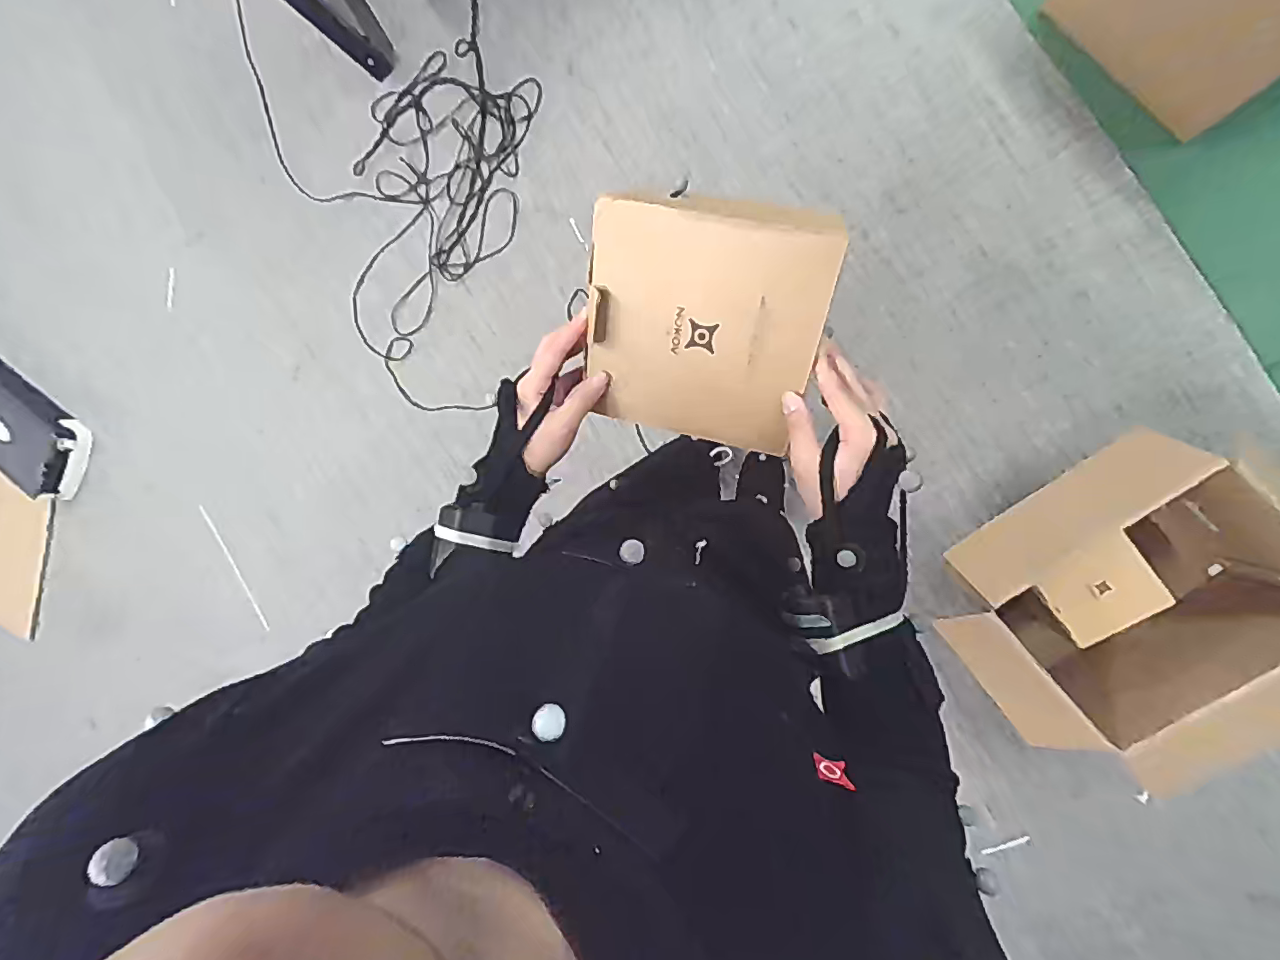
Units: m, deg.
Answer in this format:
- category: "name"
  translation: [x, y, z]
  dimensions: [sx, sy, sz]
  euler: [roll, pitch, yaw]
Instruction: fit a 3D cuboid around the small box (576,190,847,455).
- category: "small box"
  translation: [0.059, -0.145, 0.462]
  dimensions: [0.179, 0.176, 0.168]
  euler: [13, 122, 9]
